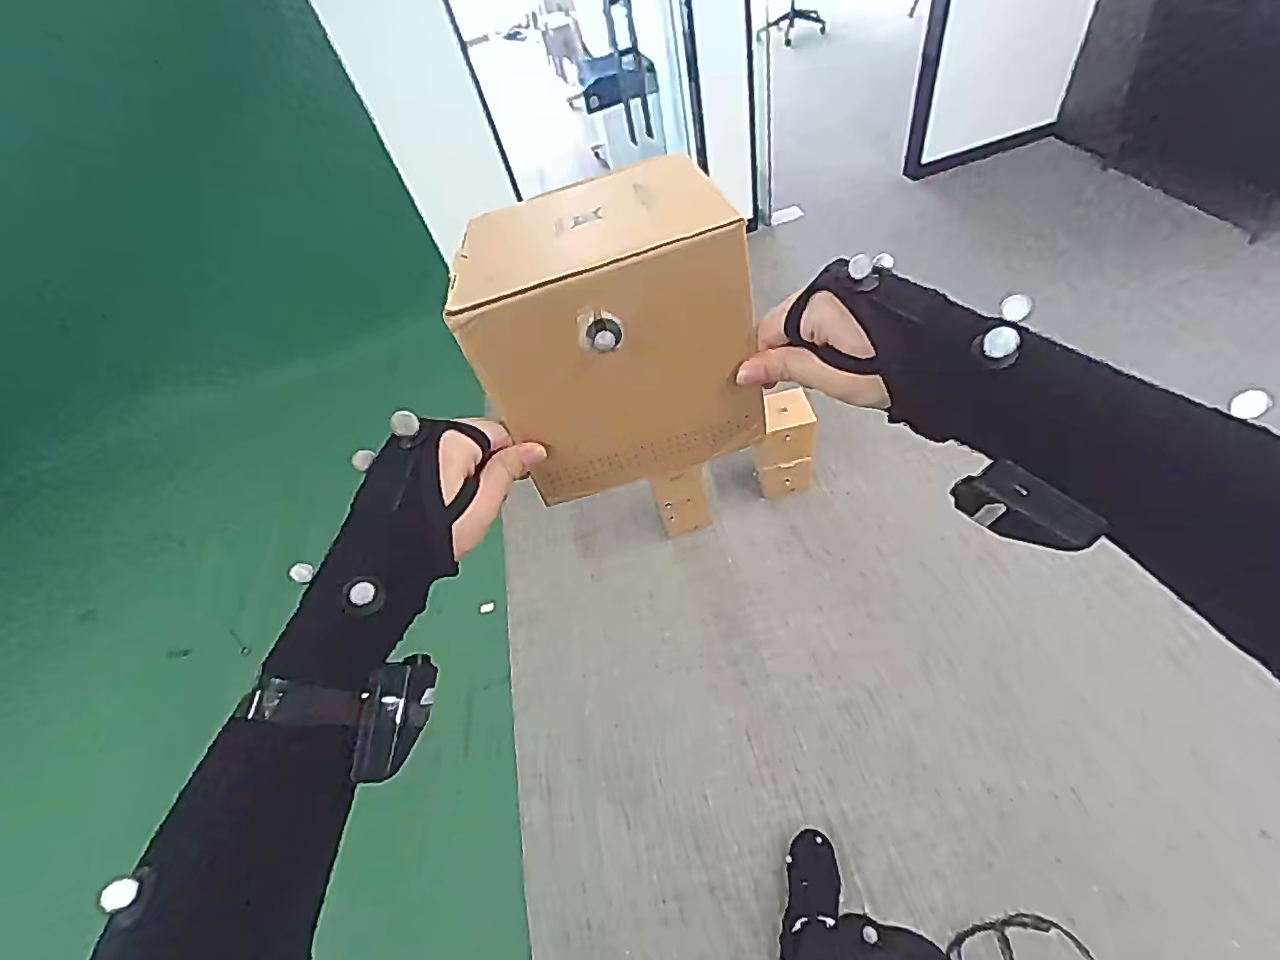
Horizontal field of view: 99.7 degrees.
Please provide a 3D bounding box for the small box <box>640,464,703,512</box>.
[{"bbox_3d":[0.101,-0.014,1.787,0.168,0.176,0.179,-18,48,-1],"label":"small box"}]

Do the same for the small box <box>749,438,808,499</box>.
[{"bbox_3d":[0.493,-0.049,1.931,0.168,0.176,0.179,-11,51,4],"label":"small box"}]

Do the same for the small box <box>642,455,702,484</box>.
[{"bbox_3d":[0.078,-0.111,1.655,0.179,0.176,0.168,-18,49,-1],"label":"small box"}]

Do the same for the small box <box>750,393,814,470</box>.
[{"bbox_3d":[0.469,-0.159,1.812,0.179,0.176,0.168,-13,49,4],"label":"small box"}]

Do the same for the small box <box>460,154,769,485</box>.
[{"bbox_3d":[-0.012,-0.119,0.418,0.179,0.176,0.168,-15,42,3],"label":"small box"}]
